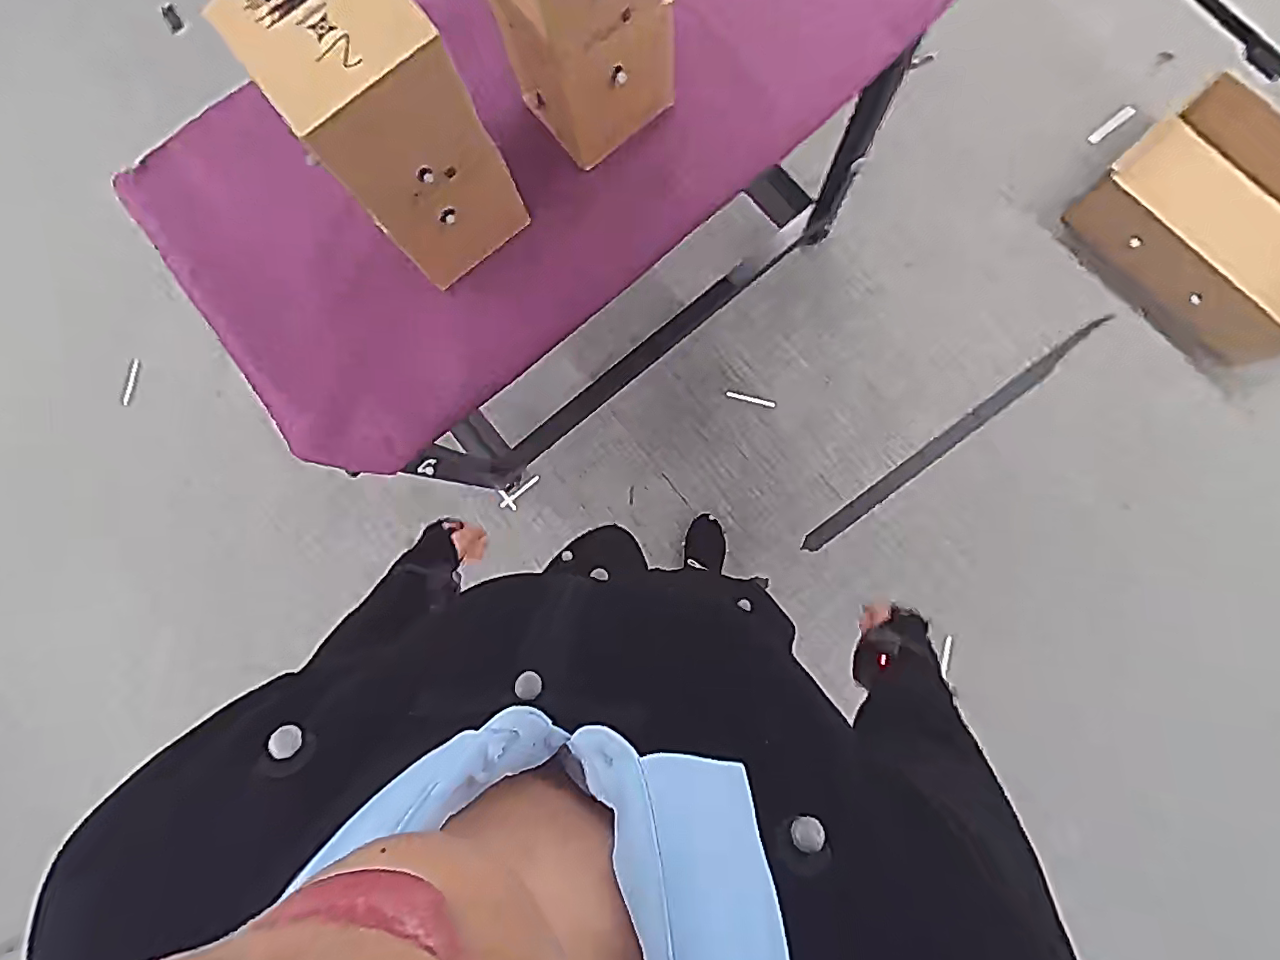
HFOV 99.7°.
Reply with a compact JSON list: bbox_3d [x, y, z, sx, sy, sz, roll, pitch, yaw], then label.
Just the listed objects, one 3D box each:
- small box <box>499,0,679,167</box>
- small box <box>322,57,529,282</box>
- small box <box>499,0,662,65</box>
[{"bbox_3d":[-0.064,-0.597,0.760,0.179,0.176,0.168,-37,84,0],"label":"small box"},{"bbox_3d":[-0.284,-0.415,0.755,0.179,0.176,0.168,-38,84,-1],"label":"small box"},{"bbox_3d":[-0.084,-0.614,0.597,0.168,0.176,0.179,-37,83,0],"label":"small box"}]
